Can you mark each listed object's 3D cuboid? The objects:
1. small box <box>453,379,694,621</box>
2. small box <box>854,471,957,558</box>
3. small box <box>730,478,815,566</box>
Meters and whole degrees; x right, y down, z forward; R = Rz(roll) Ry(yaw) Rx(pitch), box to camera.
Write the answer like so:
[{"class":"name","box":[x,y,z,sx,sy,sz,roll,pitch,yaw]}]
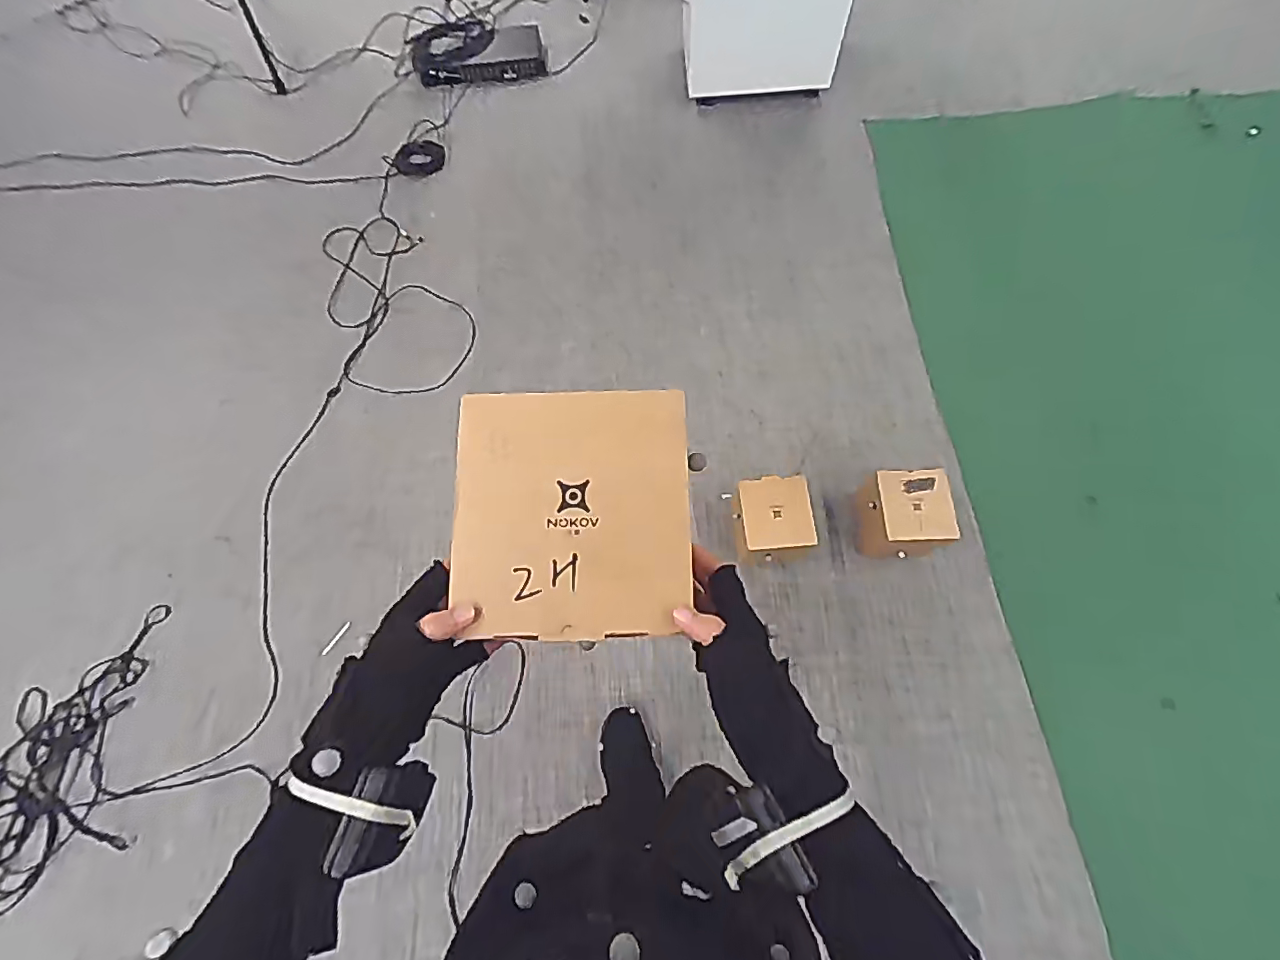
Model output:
[{"class":"small box","box":[-0.045,0.029,0.461,0.168,0.176,0.179,-1,76,0]},{"class":"small box","box":[0.649,0.090,1.346,0.168,0.176,0.179,-2,69,2]},{"class":"small box","box":[0.323,0.112,1.353,0.168,0.176,0.179,-5,67,0]}]
